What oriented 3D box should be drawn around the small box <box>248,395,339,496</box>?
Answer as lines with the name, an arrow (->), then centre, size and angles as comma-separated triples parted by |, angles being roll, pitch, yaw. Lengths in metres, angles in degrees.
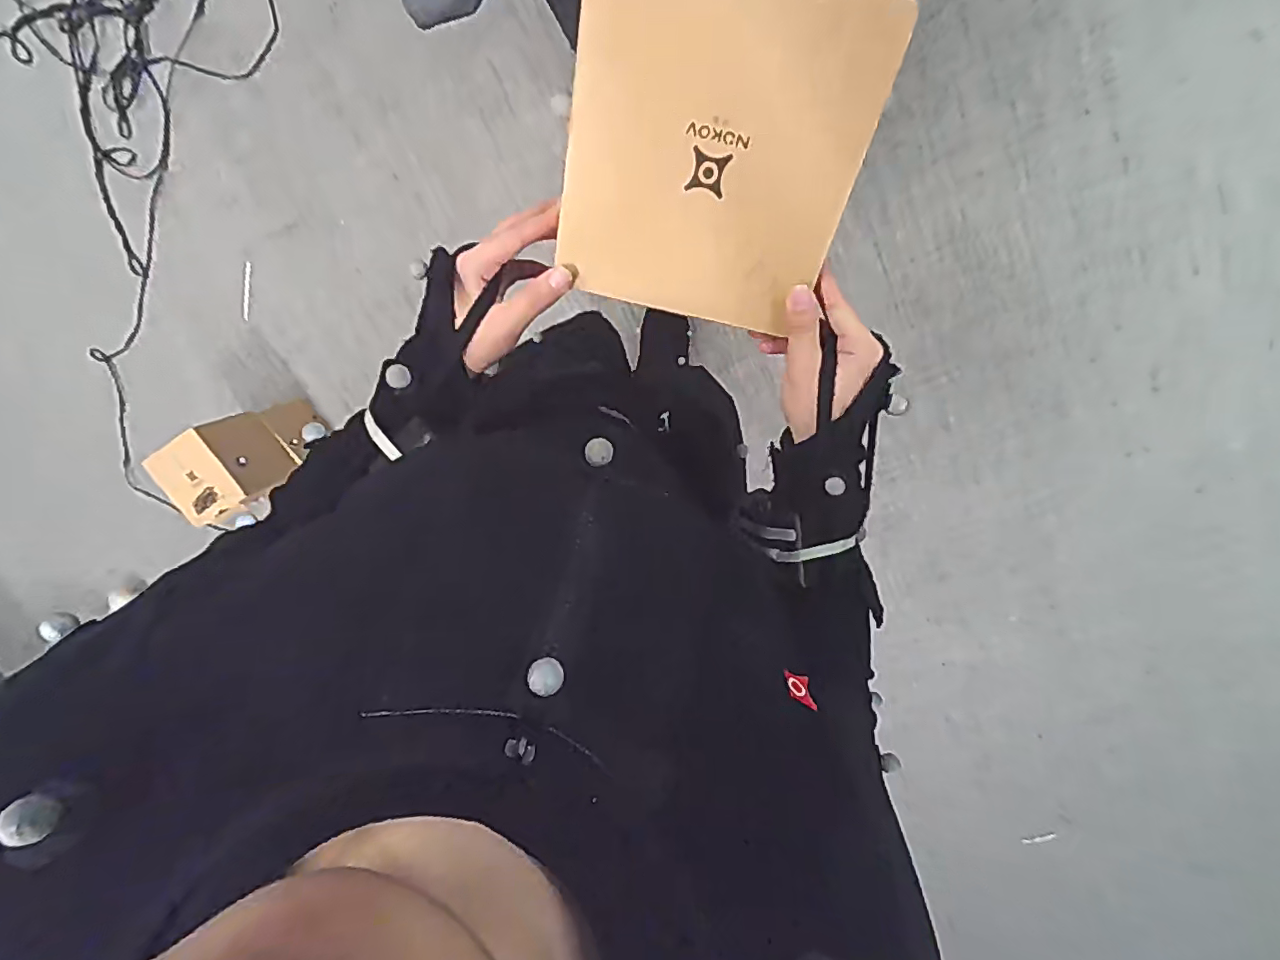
small box -> -0.912, -0.091, 1.364 | 0.179, 0.176, 0.168 | -32, 105, 16

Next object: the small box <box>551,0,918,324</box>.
small box -> 0.045, -0.232, 0.367 | 0.168, 0.176, 0.179 | 11, 124, -4

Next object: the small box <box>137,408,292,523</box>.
small box -> -0.936, -0.039, 1.209 | 0.168, 0.176, 0.179 | -26, 105, 14
